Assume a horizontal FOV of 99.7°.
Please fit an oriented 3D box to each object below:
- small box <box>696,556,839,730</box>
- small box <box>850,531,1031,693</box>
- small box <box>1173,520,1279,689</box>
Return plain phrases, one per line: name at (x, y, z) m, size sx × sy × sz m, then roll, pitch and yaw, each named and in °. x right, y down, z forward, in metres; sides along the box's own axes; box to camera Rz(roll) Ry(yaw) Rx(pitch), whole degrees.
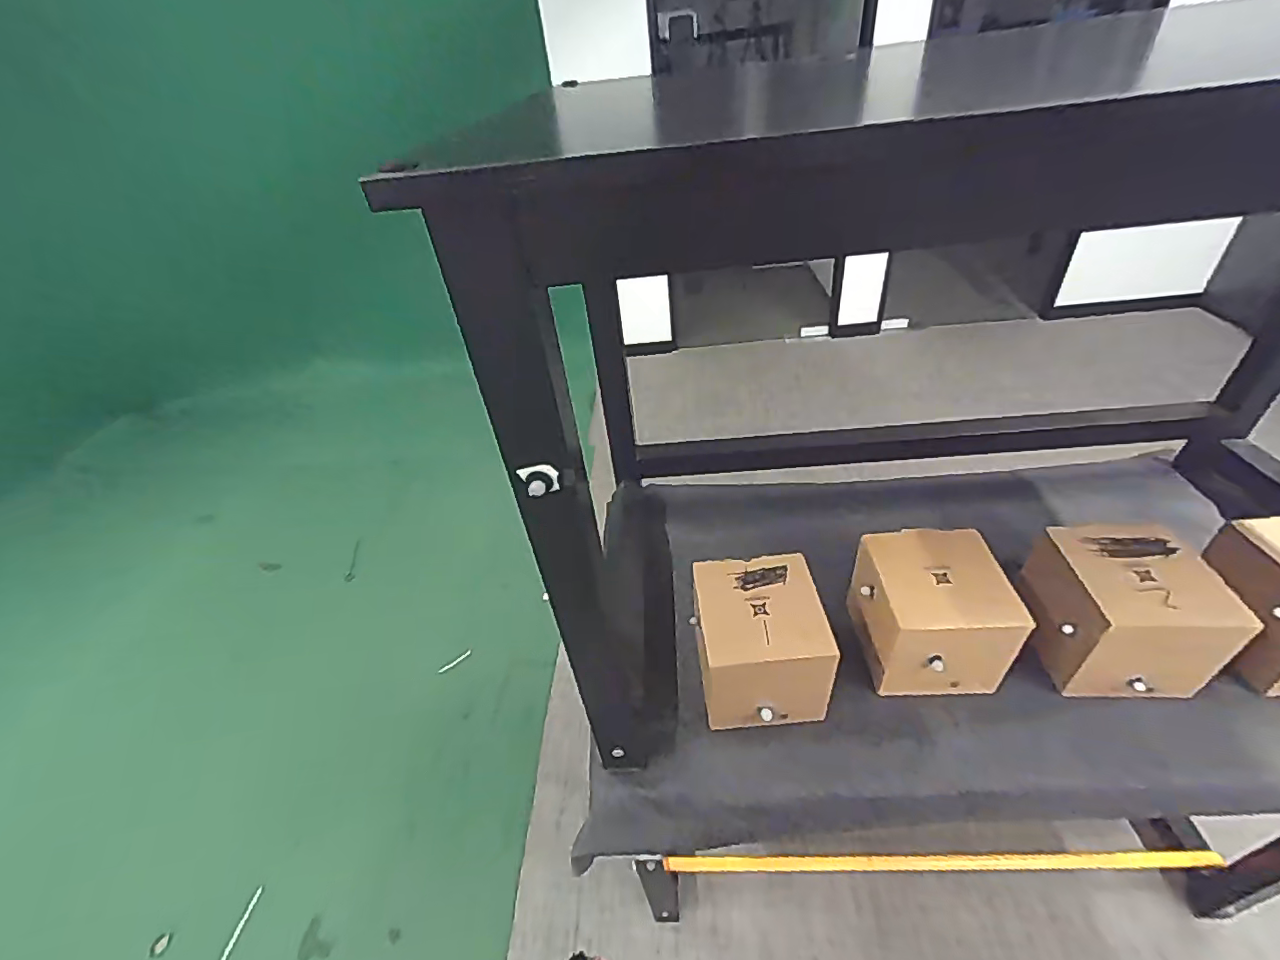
small box at (0.173, 0.237, 0.791) m, size 0.168 × 0.176 × 0.179 m, roll -6°, pitch 39°, yaw 2°
small box at (0.424, 0.198, 0.799) m, size 0.168 × 0.176 × 0.179 m, roll -3°, pitch 38°, yaw 5°
small box at (0.913, 0.172, 0.741) m, size 0.168 × 0.176 × 0.179 m, roll -4°, pitch 38°, yaw 4°
